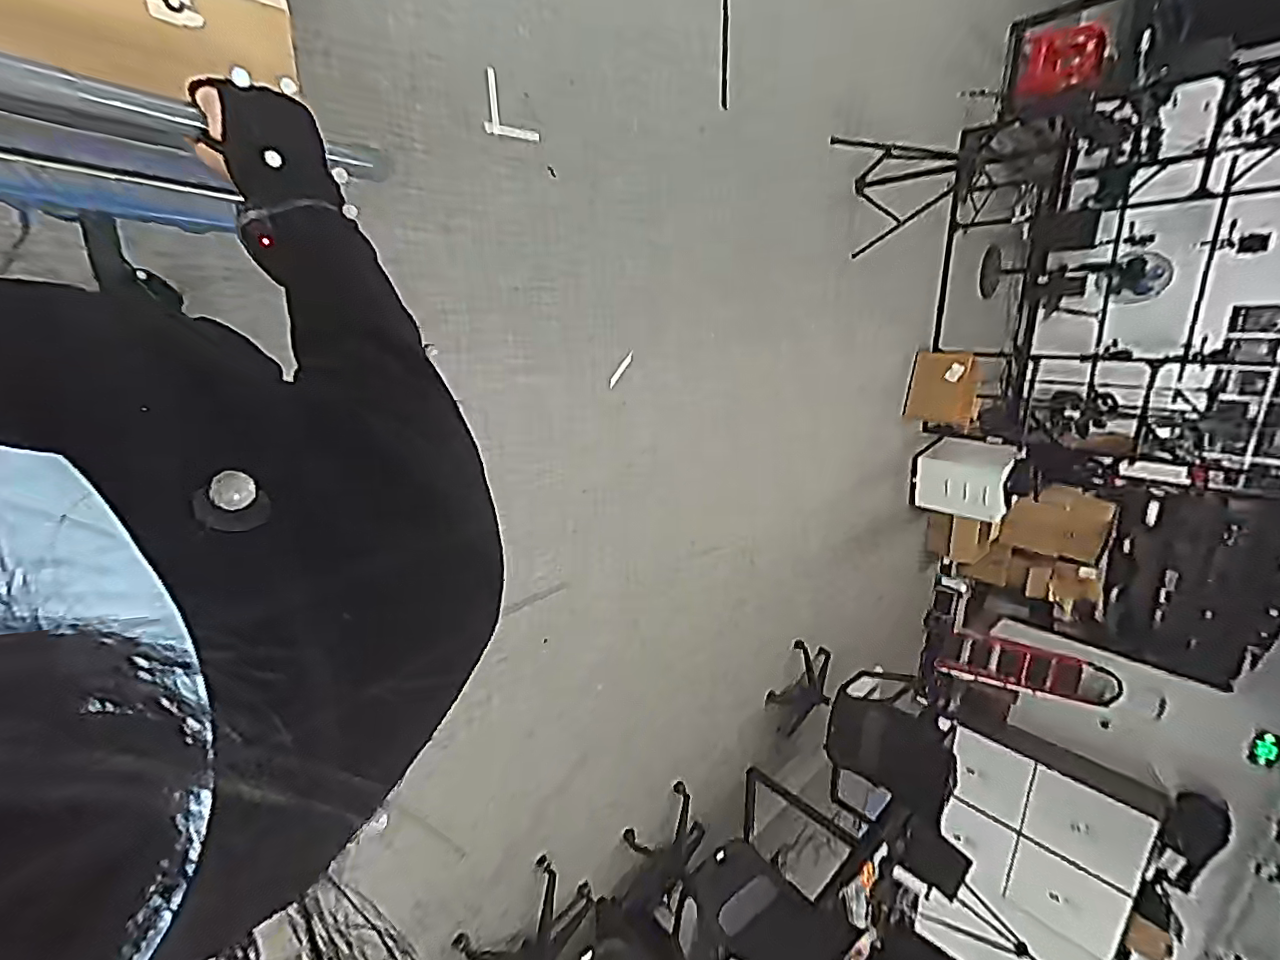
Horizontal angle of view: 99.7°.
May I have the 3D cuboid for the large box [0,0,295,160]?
[{"bbox_3d":[-0.782,-0.690,0.767,0.408,0.320,0.320,-15,112,-42],"label":"large box"}]
